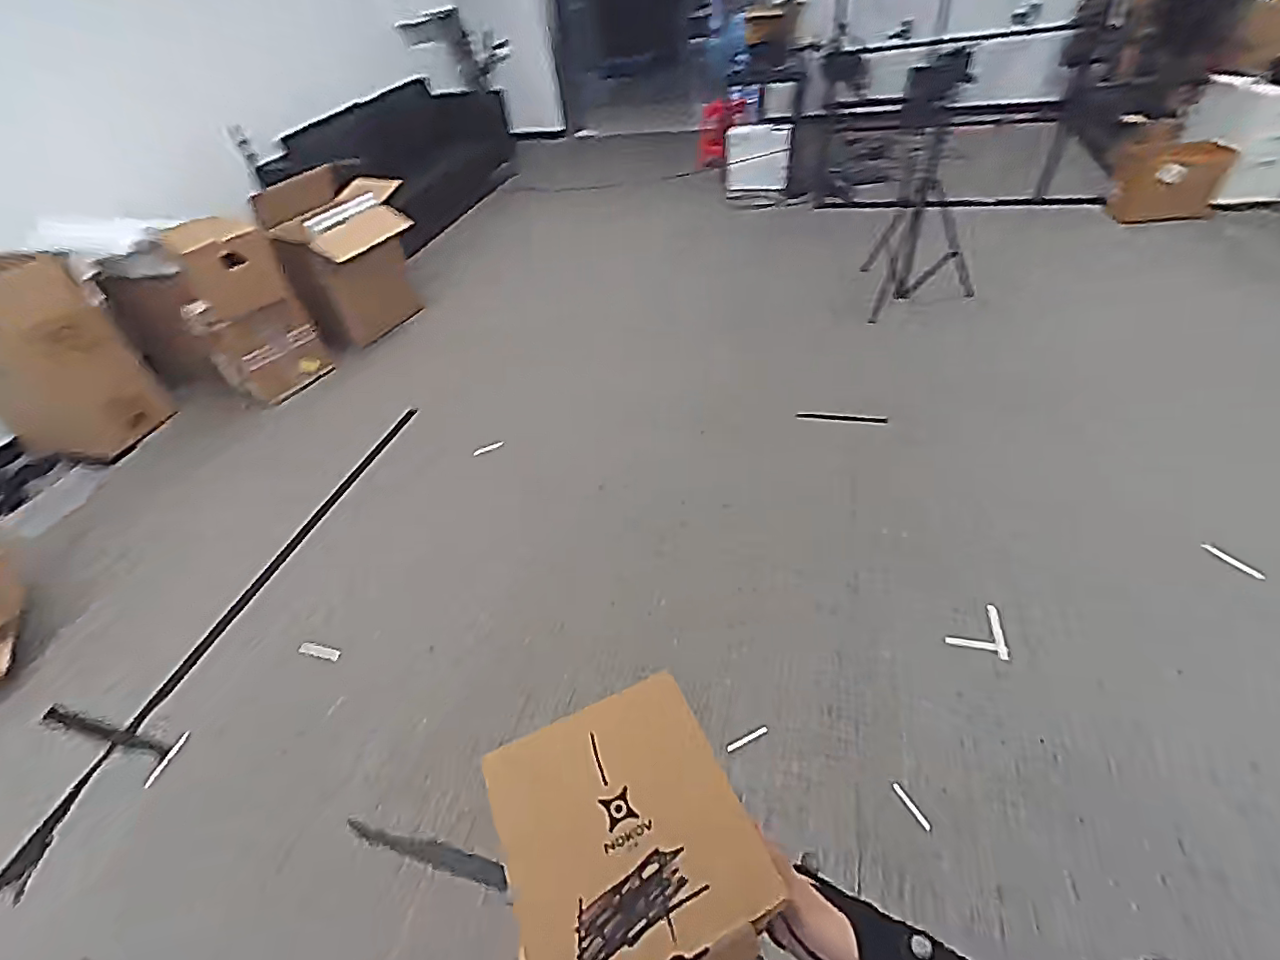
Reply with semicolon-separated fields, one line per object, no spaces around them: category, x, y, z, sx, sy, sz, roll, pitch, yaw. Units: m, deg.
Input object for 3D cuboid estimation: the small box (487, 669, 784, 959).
small box;-0.008;0.295;0.439;0.168;0.176;0.179;-18;46;-15
